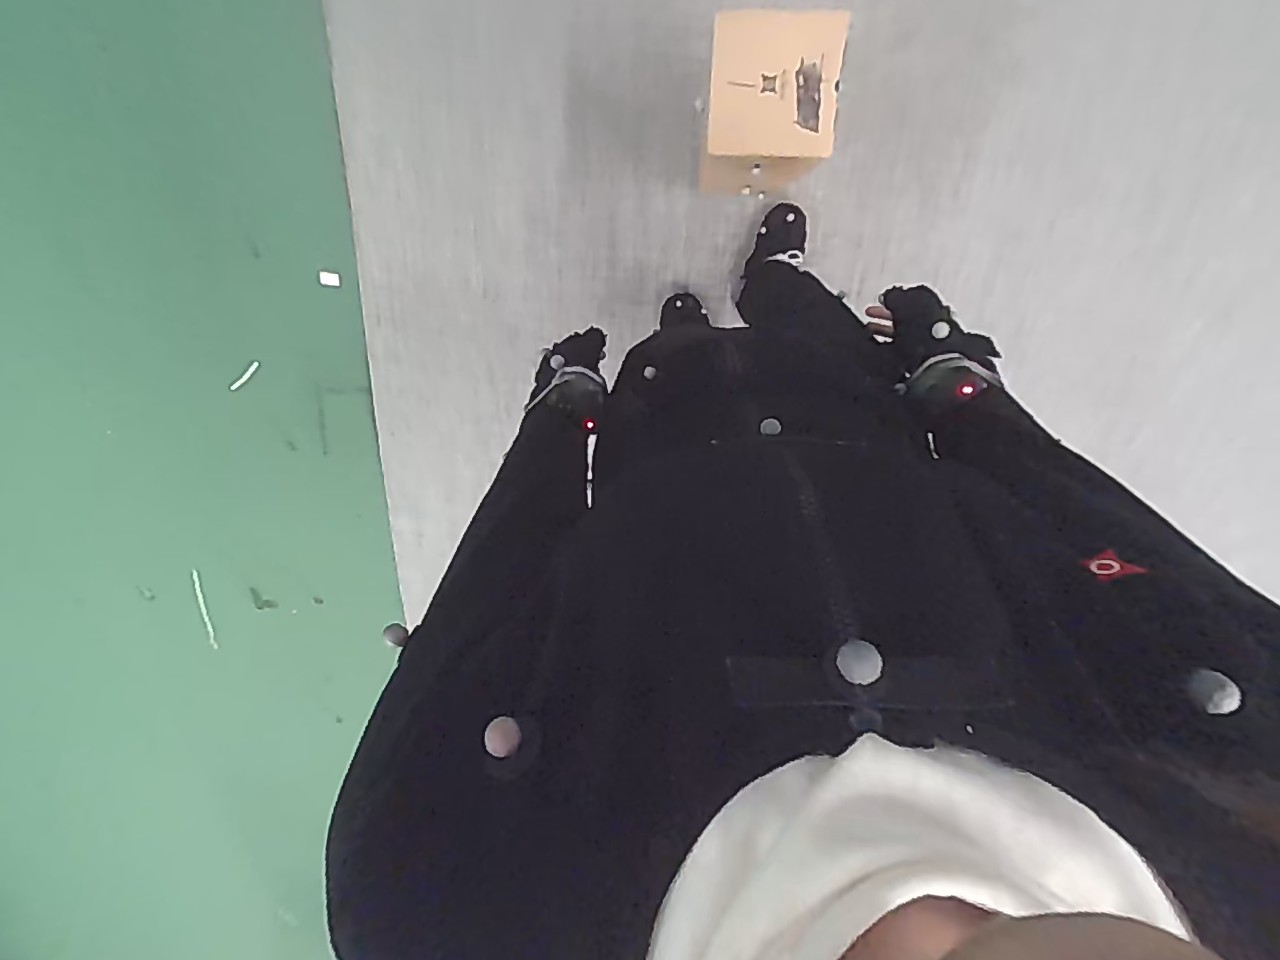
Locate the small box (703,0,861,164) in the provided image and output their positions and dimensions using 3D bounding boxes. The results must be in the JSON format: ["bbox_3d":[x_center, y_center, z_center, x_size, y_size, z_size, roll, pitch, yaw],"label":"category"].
[{"bbox_3d":[0.192,-0.572,0.788,0.179,0.176,0.168,6,111,2],"label":"small box"}]

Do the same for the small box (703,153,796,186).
[{"bbox_3d":[0.222,-0.700,1.092,0.179,0.176,0.168,4,112,5],"label":"small box"}]
